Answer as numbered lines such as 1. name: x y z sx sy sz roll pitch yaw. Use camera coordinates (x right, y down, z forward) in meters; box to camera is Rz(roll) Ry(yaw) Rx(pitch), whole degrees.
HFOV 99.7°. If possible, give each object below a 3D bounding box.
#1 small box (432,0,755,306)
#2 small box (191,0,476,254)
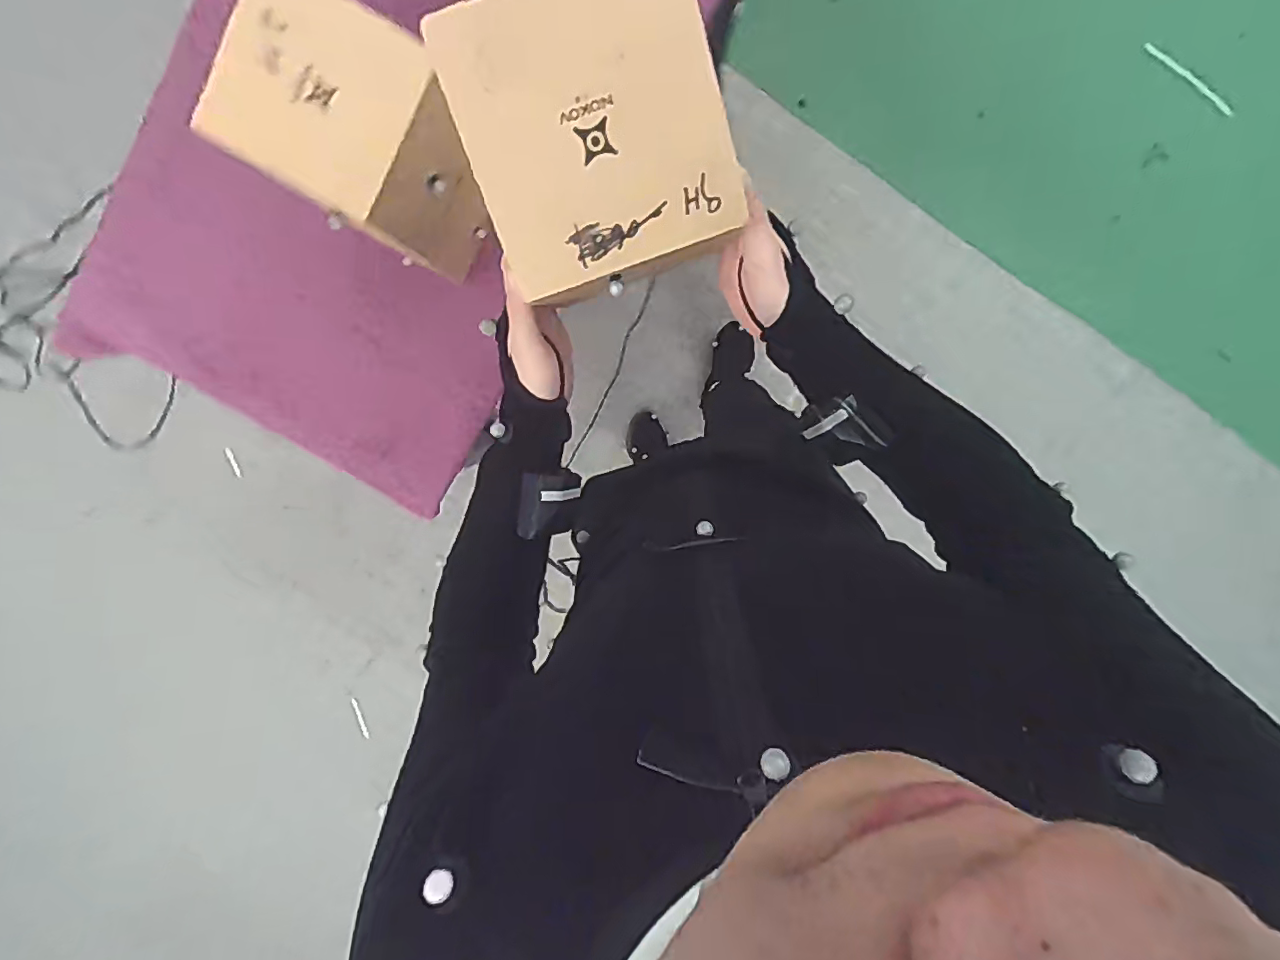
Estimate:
1. small box: -0.026 -0.247 0.418 0.168 0.176 0.179 -17 105 6
2. small box: -0.296 -0.361 0.567 0.179 0.176 0.168 29 97 -5
